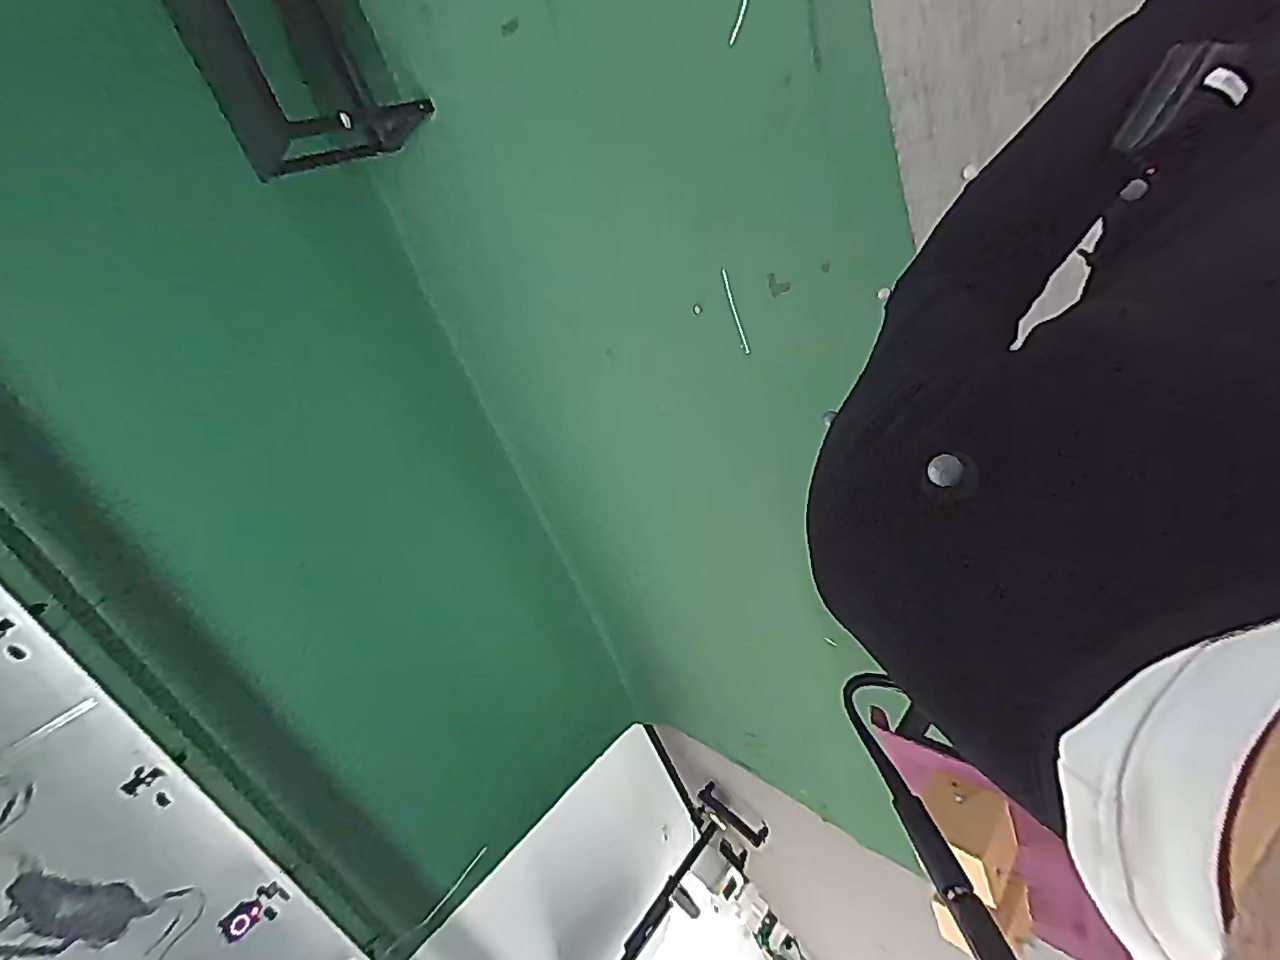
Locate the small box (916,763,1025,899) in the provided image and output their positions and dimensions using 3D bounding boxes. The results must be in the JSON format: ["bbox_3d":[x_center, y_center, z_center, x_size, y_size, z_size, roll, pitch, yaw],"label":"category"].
[{"bbox_3d":[0.793,0.827,1.291,0.168,0.176,0.179,1,121,51],"label":"small box"}]

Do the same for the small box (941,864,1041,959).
[{"bbox_3d":[0.913,1.091,1.400,0.168,0.176,0.179,5,125,51],"label":"small box"}]

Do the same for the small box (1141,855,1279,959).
[{"bbox_3d":[1.040,0.844,0.980,0.168,0.176,0.179,6,126,52],"label":"small box"}]
